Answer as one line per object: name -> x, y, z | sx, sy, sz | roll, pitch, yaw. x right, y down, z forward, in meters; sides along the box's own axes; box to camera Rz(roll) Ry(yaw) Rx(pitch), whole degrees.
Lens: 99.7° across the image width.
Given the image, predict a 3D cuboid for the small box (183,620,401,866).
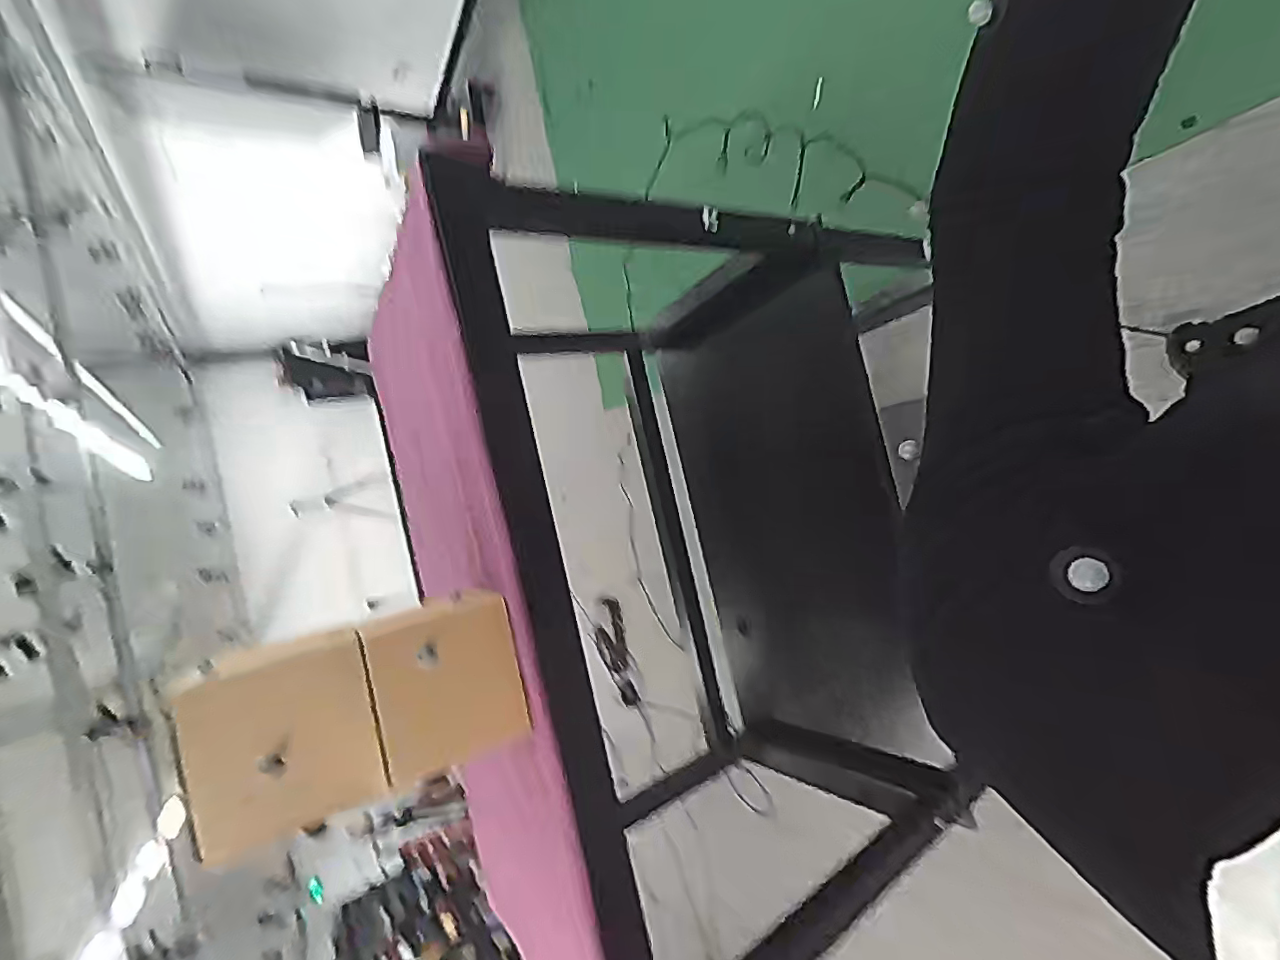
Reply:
small box -> -0.388, 0.281, 0.626 | 0.168, 0.176, 0.179 | -14, 89, 58
